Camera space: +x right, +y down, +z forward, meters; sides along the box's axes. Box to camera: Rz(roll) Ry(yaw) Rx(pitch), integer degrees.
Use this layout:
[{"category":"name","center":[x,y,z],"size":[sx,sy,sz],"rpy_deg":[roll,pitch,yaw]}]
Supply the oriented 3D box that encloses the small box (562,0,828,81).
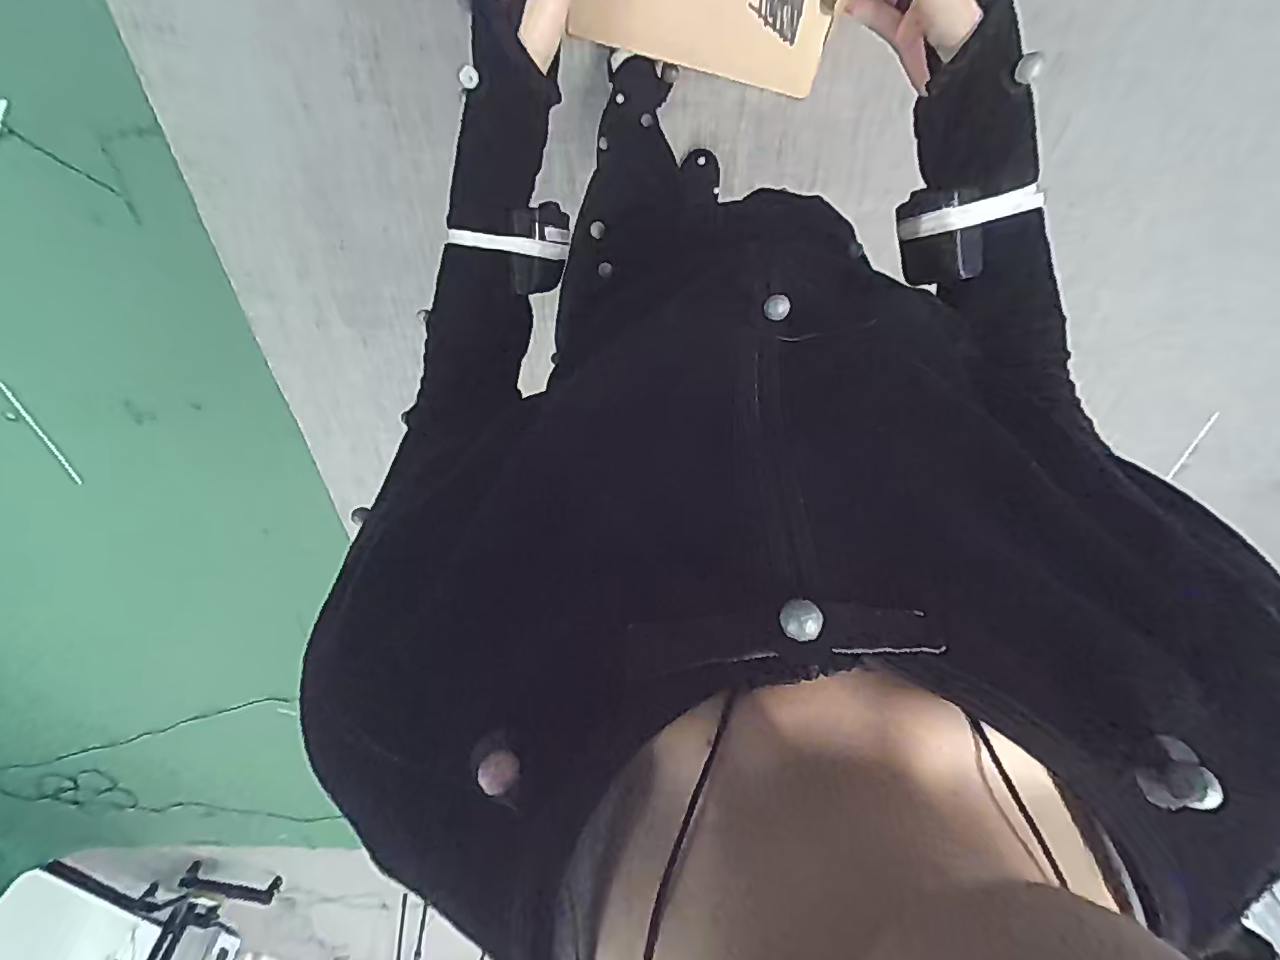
[{"category":"small box","center":[0.049,-0.414,0.389],"size":[0.179,0.176,0.168],"rpy_deg":[10,129,-7]}]
